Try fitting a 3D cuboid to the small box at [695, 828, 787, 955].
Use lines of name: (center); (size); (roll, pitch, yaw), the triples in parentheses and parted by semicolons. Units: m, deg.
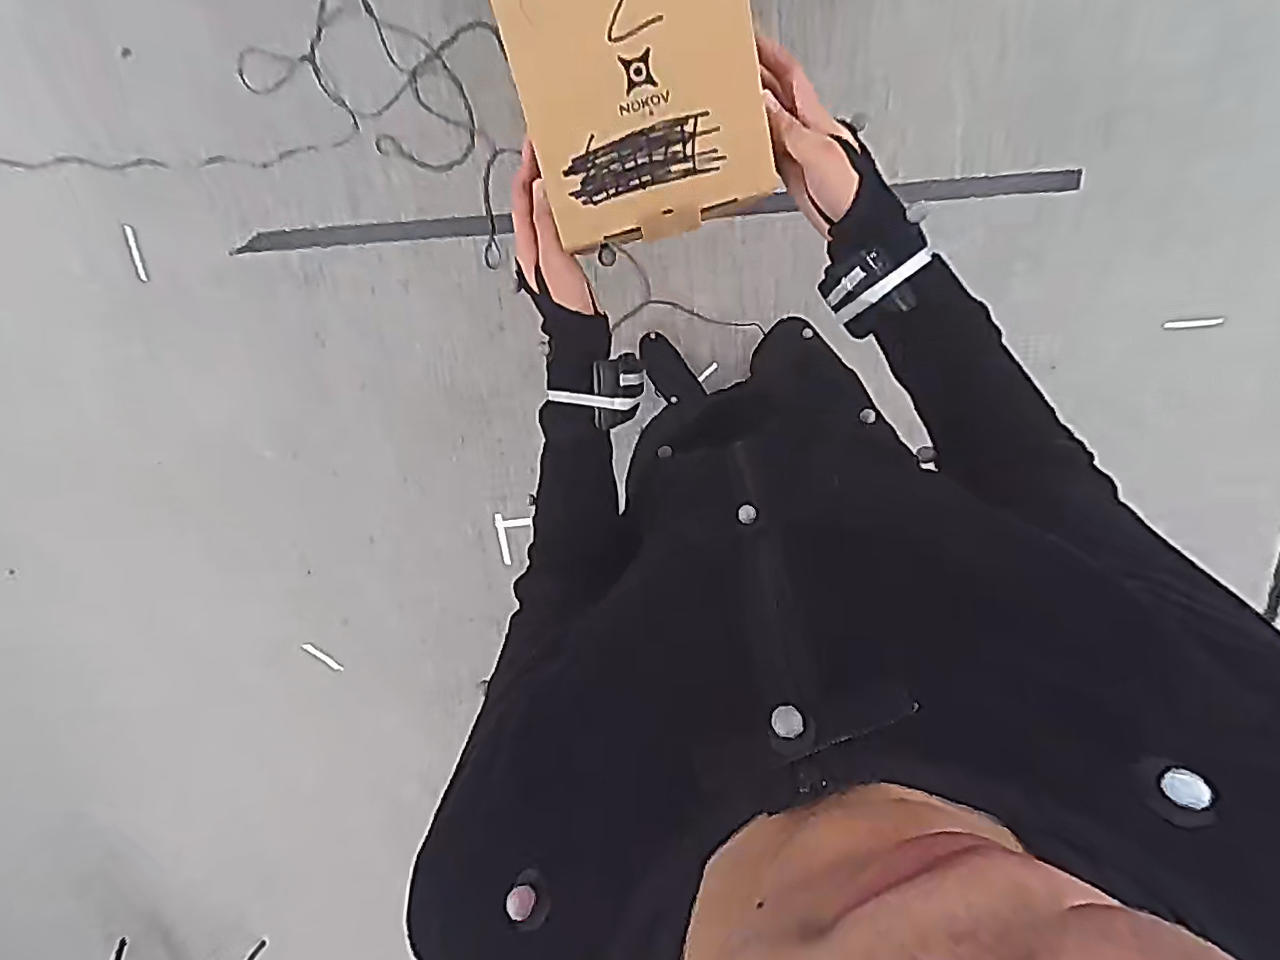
small box: (0.218, 0.917, 1.212); (0.179, 0.176, 0.168); (0, 106, 2)
